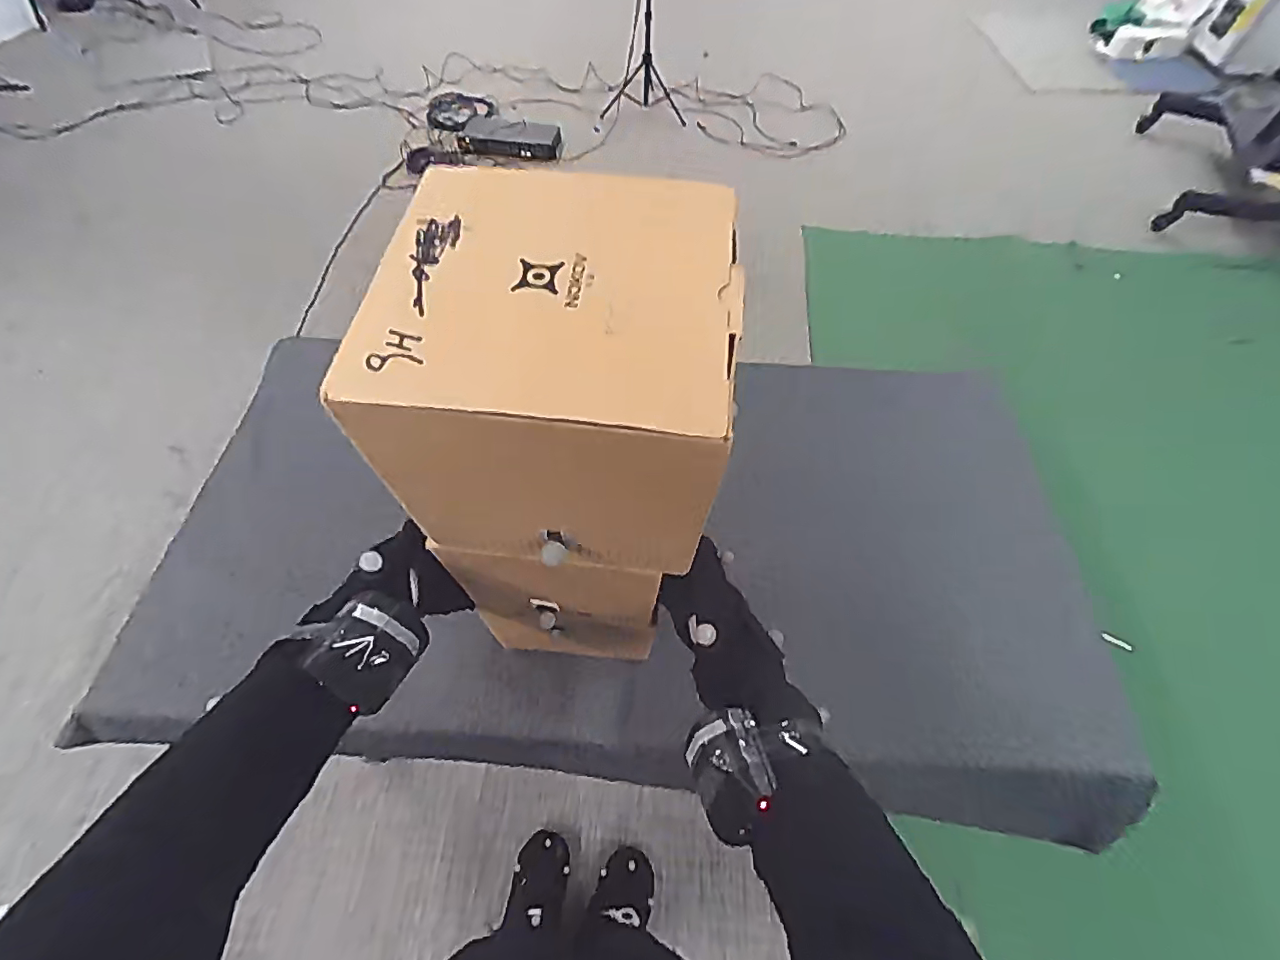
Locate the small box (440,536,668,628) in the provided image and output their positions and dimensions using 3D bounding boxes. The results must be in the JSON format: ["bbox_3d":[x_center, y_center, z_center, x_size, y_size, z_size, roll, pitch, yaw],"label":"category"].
[{"bbox_3d":[-0.056,0.021,0.490,0.168,0.176,0.179,5,62,2],"label":"small box"}]

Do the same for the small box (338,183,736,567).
[{"bbox_3d":[-0.043,-0.053,0.344,0.179,0.176,0.168,6,60,1],"label":"small box"}]

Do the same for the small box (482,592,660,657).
[{"bbox_3d":[-0.065,0.102,0.629,0.179,0.176,0.168,5,61,-1],"label":"small box"}]
